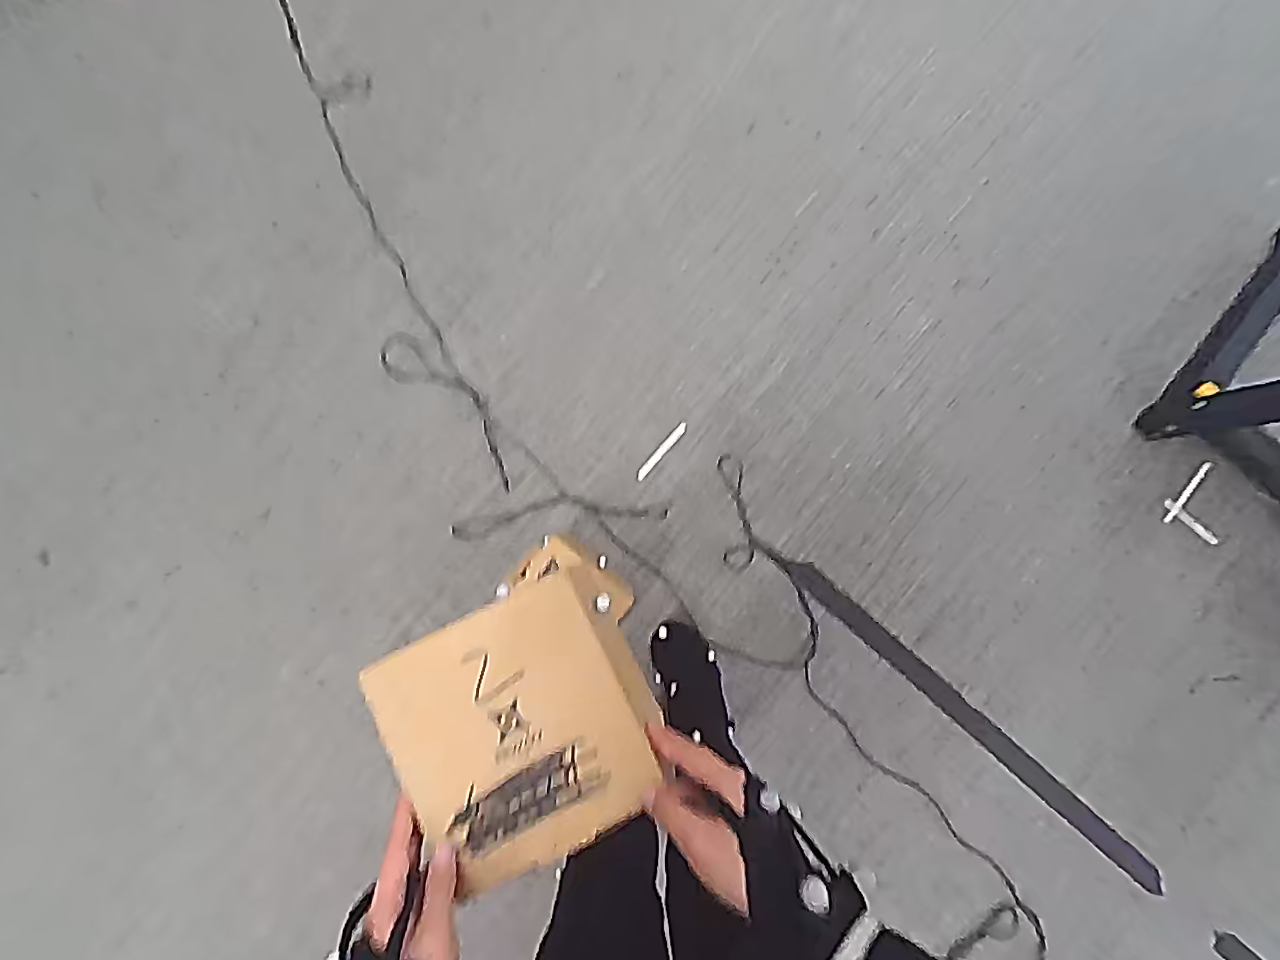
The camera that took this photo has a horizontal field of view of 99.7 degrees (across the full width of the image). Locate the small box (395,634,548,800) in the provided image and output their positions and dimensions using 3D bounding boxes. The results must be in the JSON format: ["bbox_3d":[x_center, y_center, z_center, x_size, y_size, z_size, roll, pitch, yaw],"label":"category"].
[{"bbox_3d":[-0.282,0.403,0.953,0.168,0.176,0.179,41,87,0],"label":"small box"}]

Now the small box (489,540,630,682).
[{"bbox_3d":[-0.137,0.224,0.972,0.179,0.176,0.168,39,86,0],"label":"small box"}]
